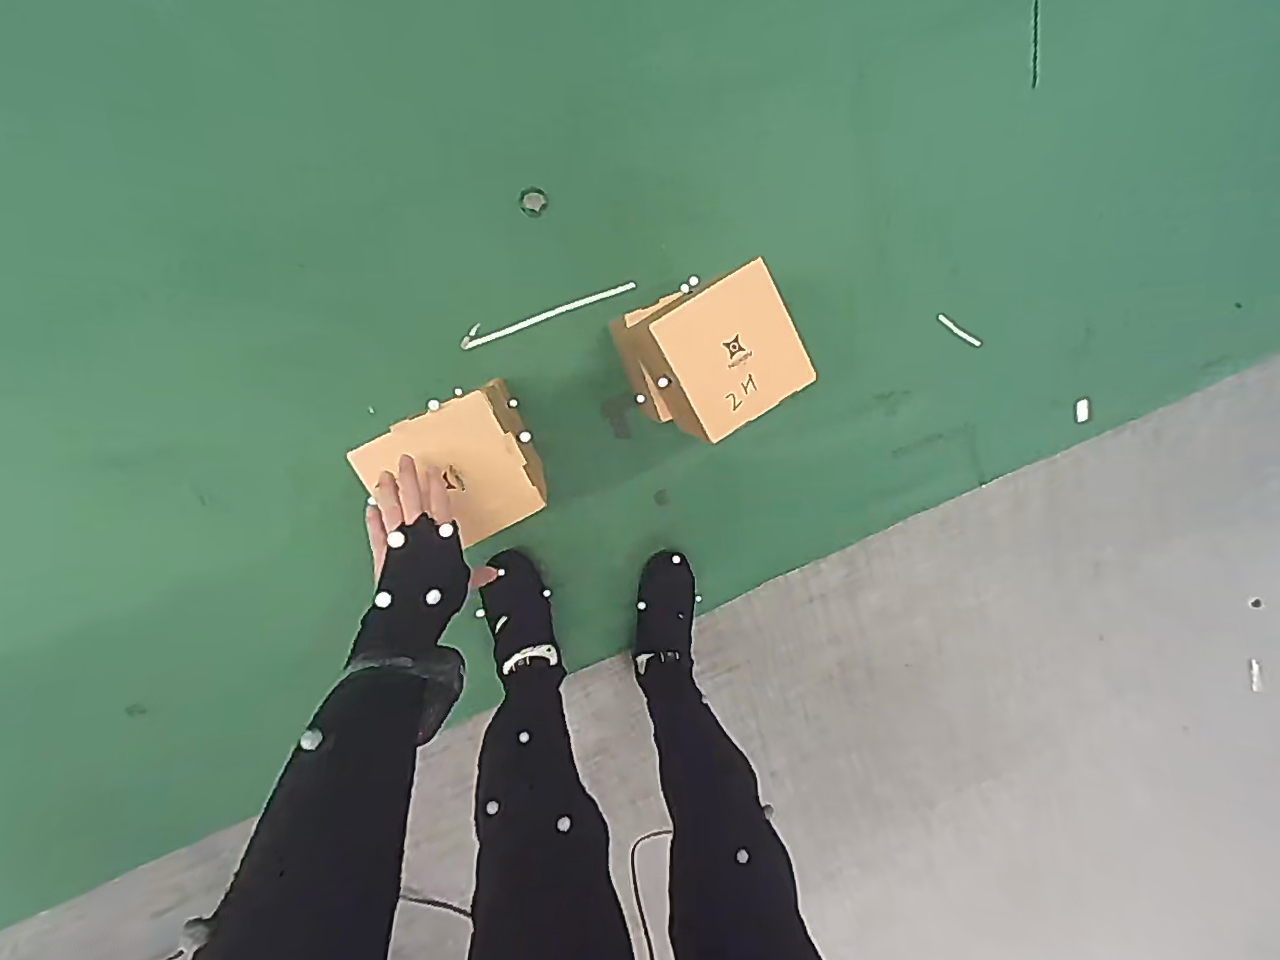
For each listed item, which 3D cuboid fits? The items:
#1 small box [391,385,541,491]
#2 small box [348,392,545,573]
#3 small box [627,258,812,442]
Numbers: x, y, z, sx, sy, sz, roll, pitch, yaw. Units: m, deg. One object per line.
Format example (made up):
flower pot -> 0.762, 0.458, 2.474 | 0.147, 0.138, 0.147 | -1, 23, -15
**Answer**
small box -> -0.268, -0.045, 0.883 | 0.168, 0.176, 0.179 | -25, 105, -4
small box -> -0.243, -0.010, 0.725 | 0.179, 0.176, 0.168 | -27, 105, -4
small box -> 0.099, -0.175, 0.751 | 0.168, 0.176, 0.179 | -32, 107, -2
